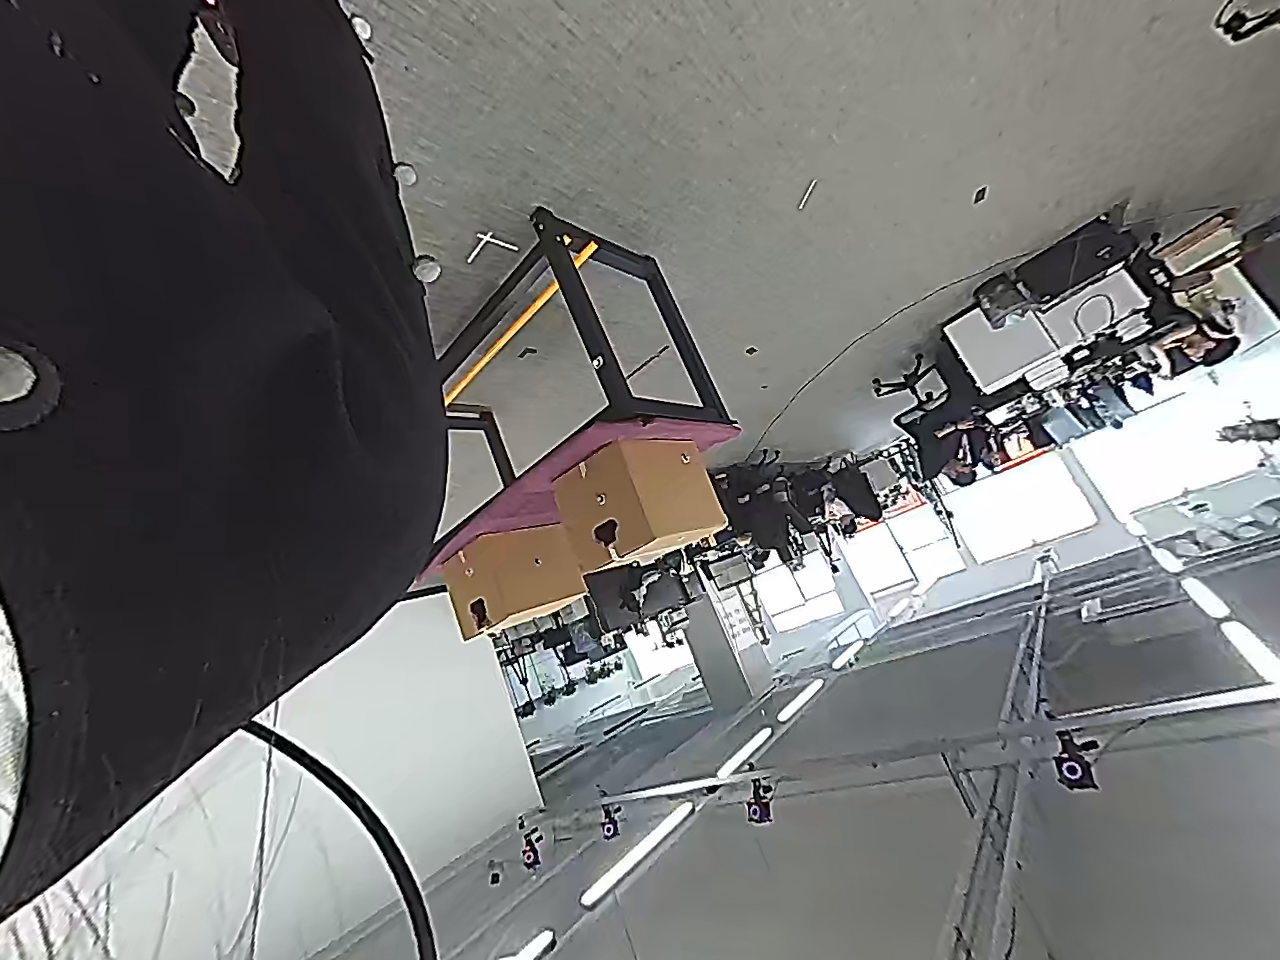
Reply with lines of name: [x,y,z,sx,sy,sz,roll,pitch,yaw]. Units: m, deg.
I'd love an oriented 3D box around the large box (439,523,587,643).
large box: [-0.493,0.387,2.101,0.320,0.320,0.408,-32,164,34]
